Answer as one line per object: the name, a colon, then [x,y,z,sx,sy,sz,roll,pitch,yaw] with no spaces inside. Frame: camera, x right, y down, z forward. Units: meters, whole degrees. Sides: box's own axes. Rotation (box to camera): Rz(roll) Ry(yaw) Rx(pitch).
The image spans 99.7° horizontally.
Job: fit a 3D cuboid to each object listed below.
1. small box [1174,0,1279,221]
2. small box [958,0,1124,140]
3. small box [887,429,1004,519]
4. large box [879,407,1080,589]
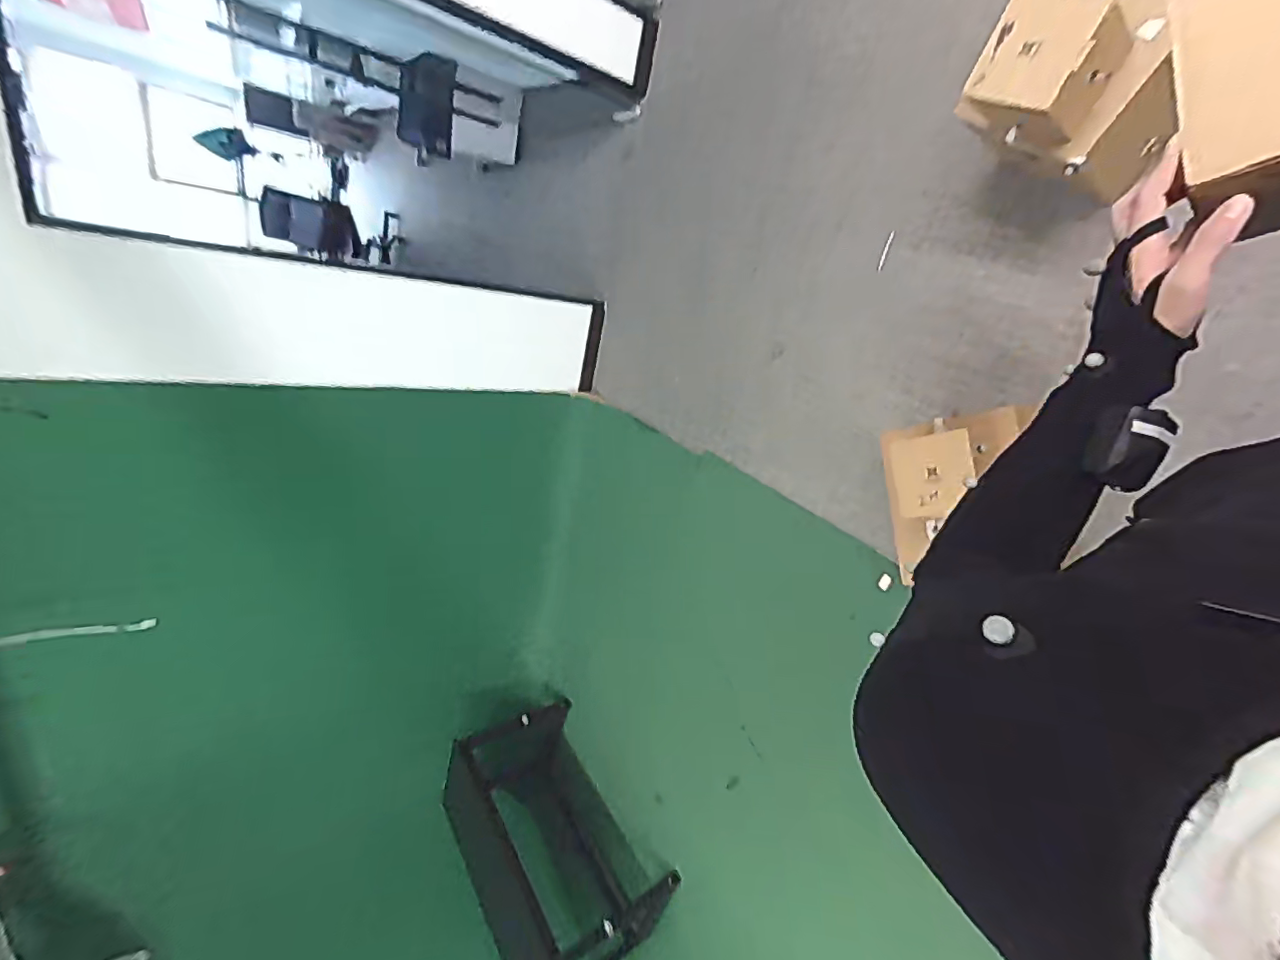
small box: [0.525,-0.317,0.400,0.168,0.176,0.179,-5,86,50]
small box: [0.759,-0.771,1.023,0.179,0.176,0.168,46,127,36]
small box: [0.680,-0.013,1.202,0.168,0.176,0.179,-12,85,50]
large box: [0.862,0.045,1.378,0.320,0.320,0.408,-12,85,52]
